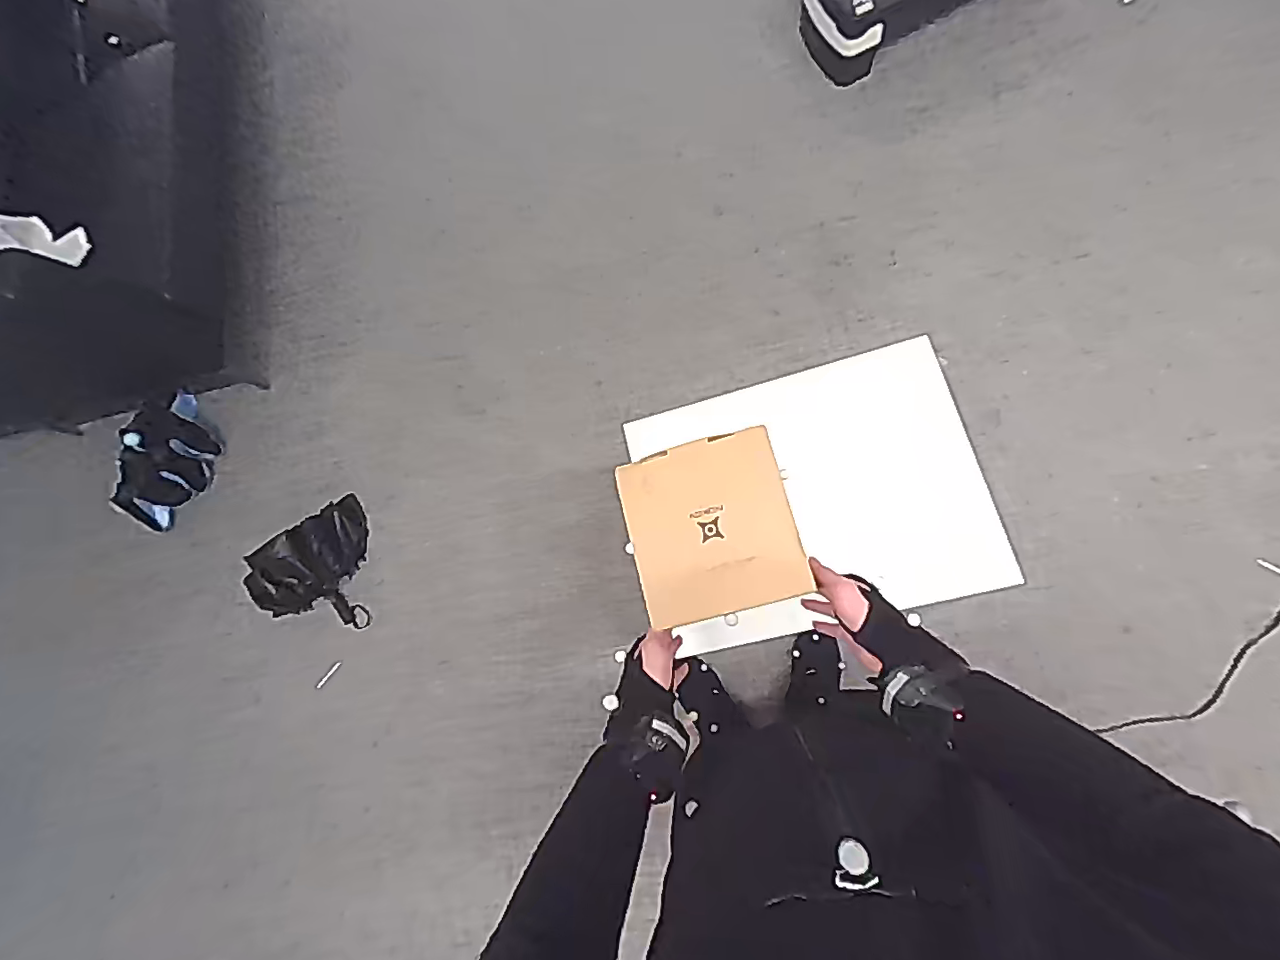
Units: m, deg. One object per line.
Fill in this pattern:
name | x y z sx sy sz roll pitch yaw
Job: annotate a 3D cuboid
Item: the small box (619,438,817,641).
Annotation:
small box | 0.090 0.075 0.618 0.168 0.176 0.179 -17 74 10
